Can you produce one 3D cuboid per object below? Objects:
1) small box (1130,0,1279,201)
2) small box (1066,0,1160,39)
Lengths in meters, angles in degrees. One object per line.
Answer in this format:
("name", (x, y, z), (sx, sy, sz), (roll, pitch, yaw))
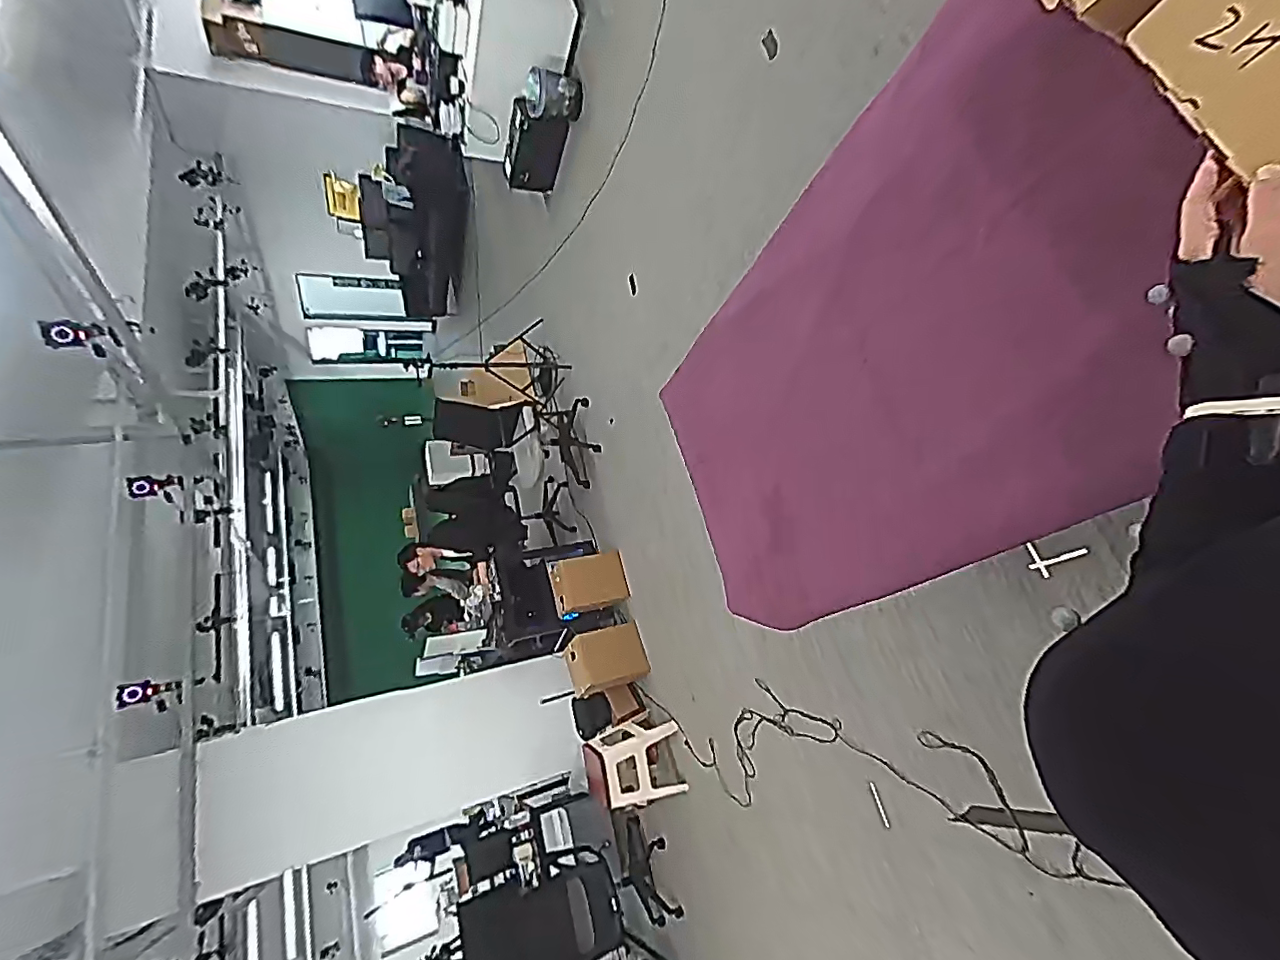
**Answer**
("small box", (0.499, -0.310, 0.355), (0.179, 0.176, 0.168), (133, 127, -57))
("small box", (0.443, -0.490, 0.423), (0.179, 0.176, 0.168), (-39, 63, 58))
